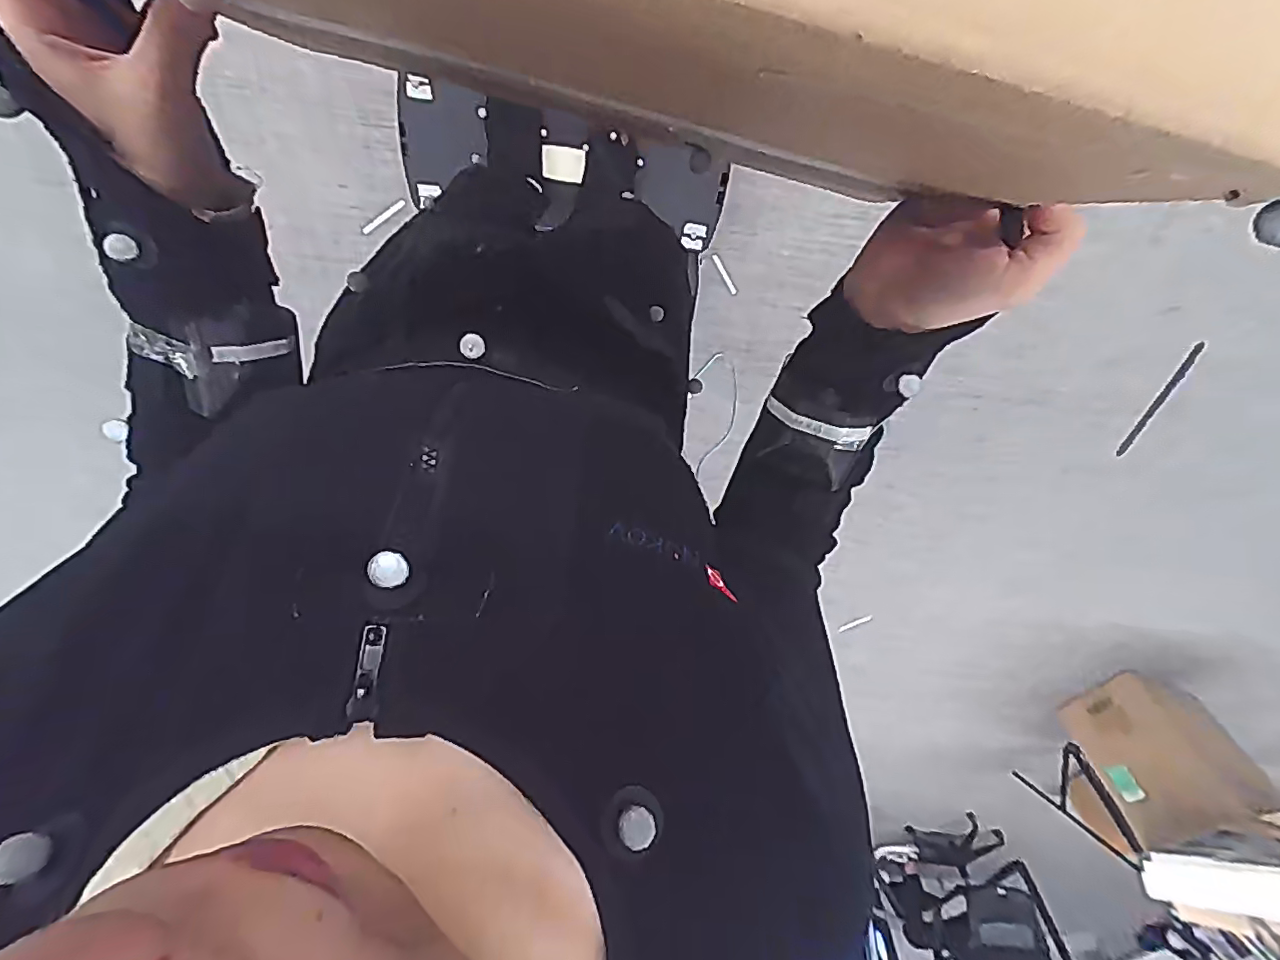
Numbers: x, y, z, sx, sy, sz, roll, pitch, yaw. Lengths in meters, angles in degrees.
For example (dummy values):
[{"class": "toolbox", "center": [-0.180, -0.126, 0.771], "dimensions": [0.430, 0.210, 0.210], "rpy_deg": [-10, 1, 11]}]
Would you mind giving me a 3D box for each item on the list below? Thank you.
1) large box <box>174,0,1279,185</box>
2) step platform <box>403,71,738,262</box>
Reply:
[{"class": "large box", "center": [-0.008, -0.314, 0.169], "dimensions": [0.408, 0.320, 0.320], "rpy_deg": [11, 118, -5]}, {"class": "step platform", "center": [-0.139, -0.694, 1.164], "dimensions": [0.684, 0.204, 0.286], "rpy_deg": [9, 127, -8]}]
